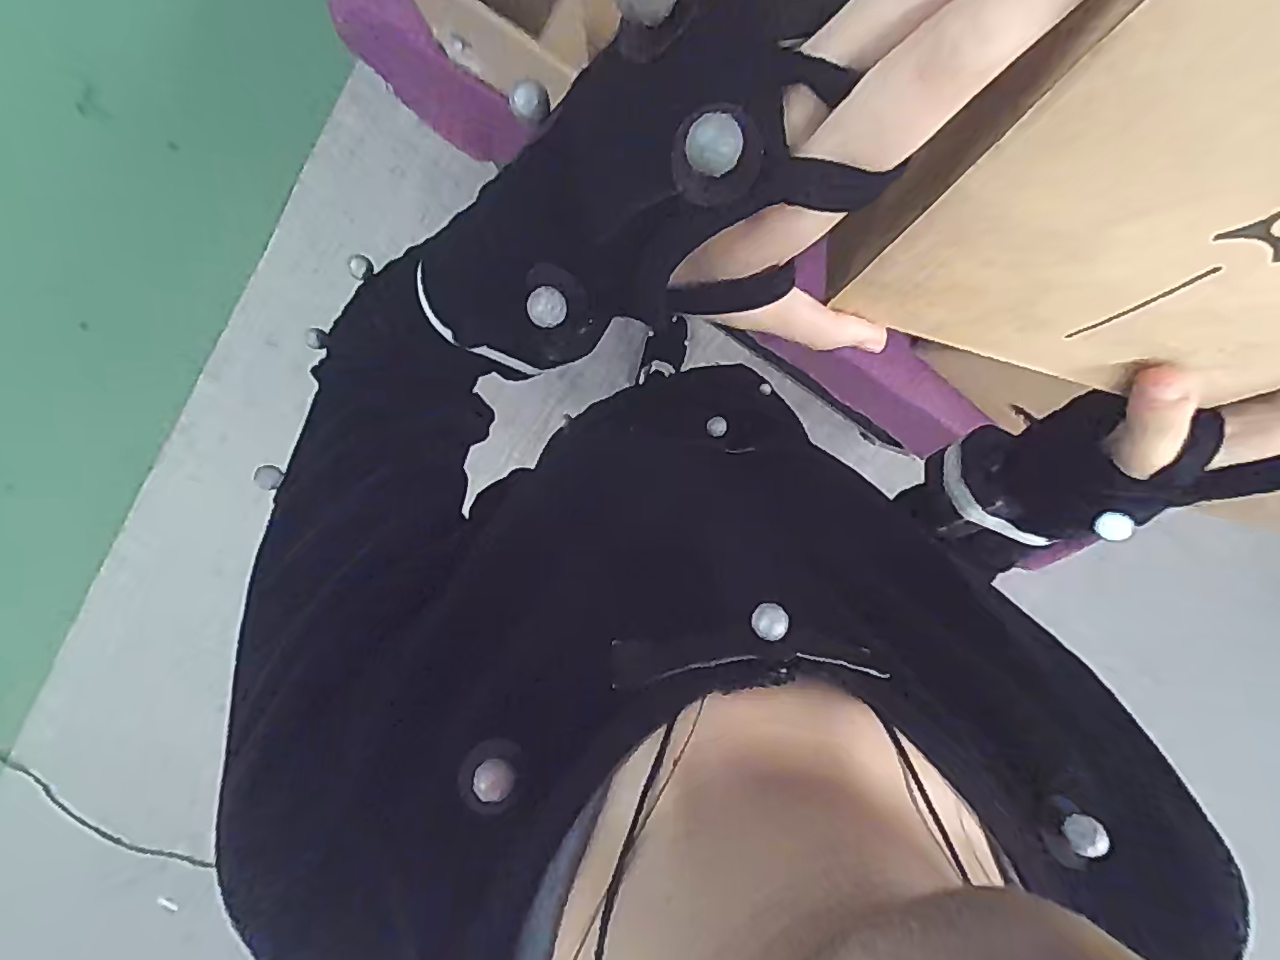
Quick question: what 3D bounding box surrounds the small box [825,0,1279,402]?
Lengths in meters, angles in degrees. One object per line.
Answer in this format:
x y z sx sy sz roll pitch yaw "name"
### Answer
0.171 -0.146 0.150 0.168 0.179 0.176 12 74 -11 "small box"
